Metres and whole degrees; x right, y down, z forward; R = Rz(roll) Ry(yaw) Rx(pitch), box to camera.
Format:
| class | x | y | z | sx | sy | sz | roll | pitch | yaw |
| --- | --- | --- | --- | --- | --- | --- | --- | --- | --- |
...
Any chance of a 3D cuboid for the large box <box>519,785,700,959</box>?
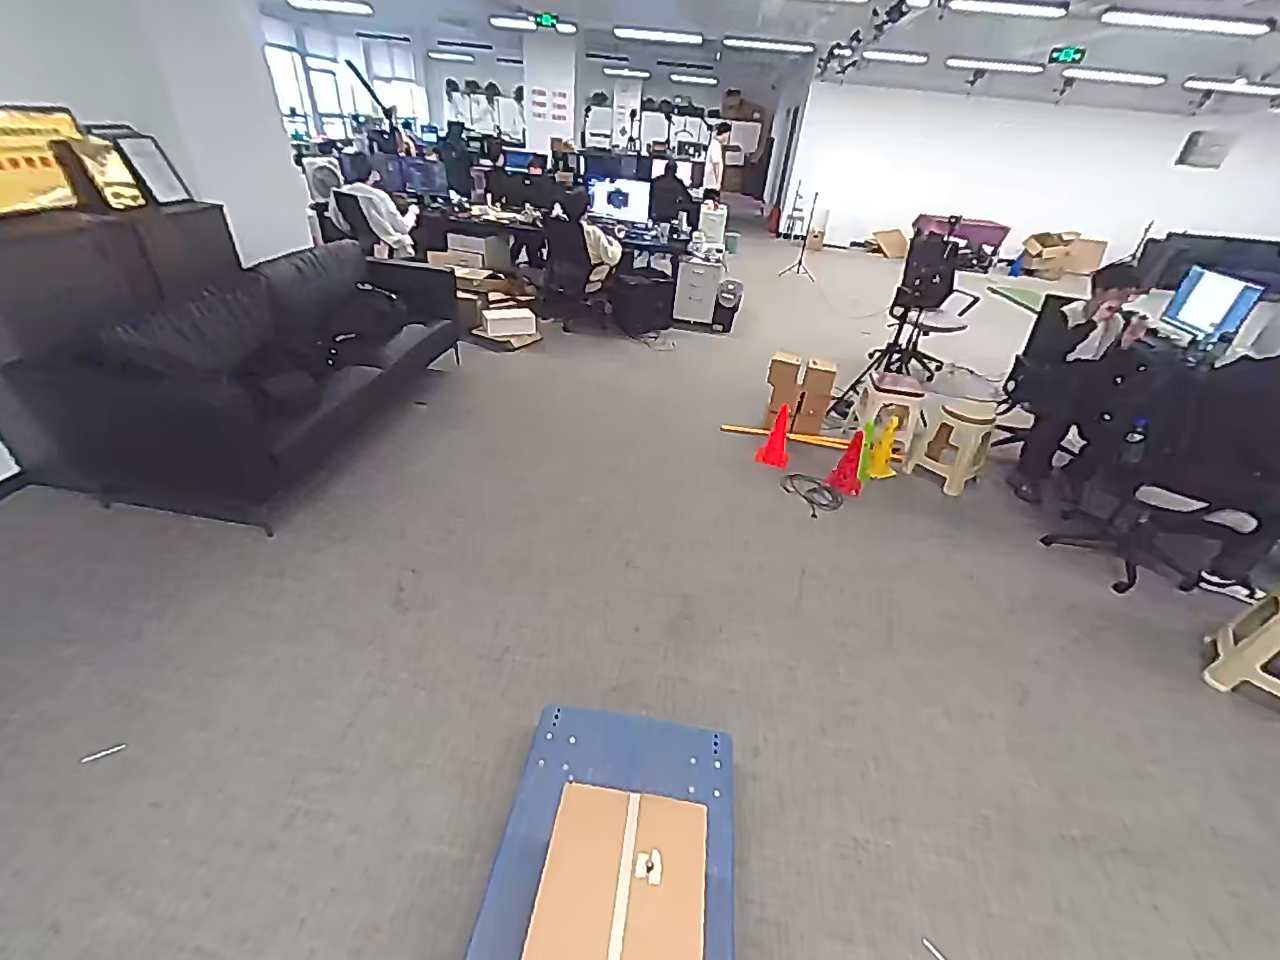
| class | x | y | z | sx | sy | sz | roll | pitch | yaw |
| --- | --- | --- | --- | --- | --- | --- | --- | --- | --- |
| large box | -0.054 | 0.912 | 1.083 | 0.320 | 0.320 | 0.408 | 8 | 32 | 3 |
